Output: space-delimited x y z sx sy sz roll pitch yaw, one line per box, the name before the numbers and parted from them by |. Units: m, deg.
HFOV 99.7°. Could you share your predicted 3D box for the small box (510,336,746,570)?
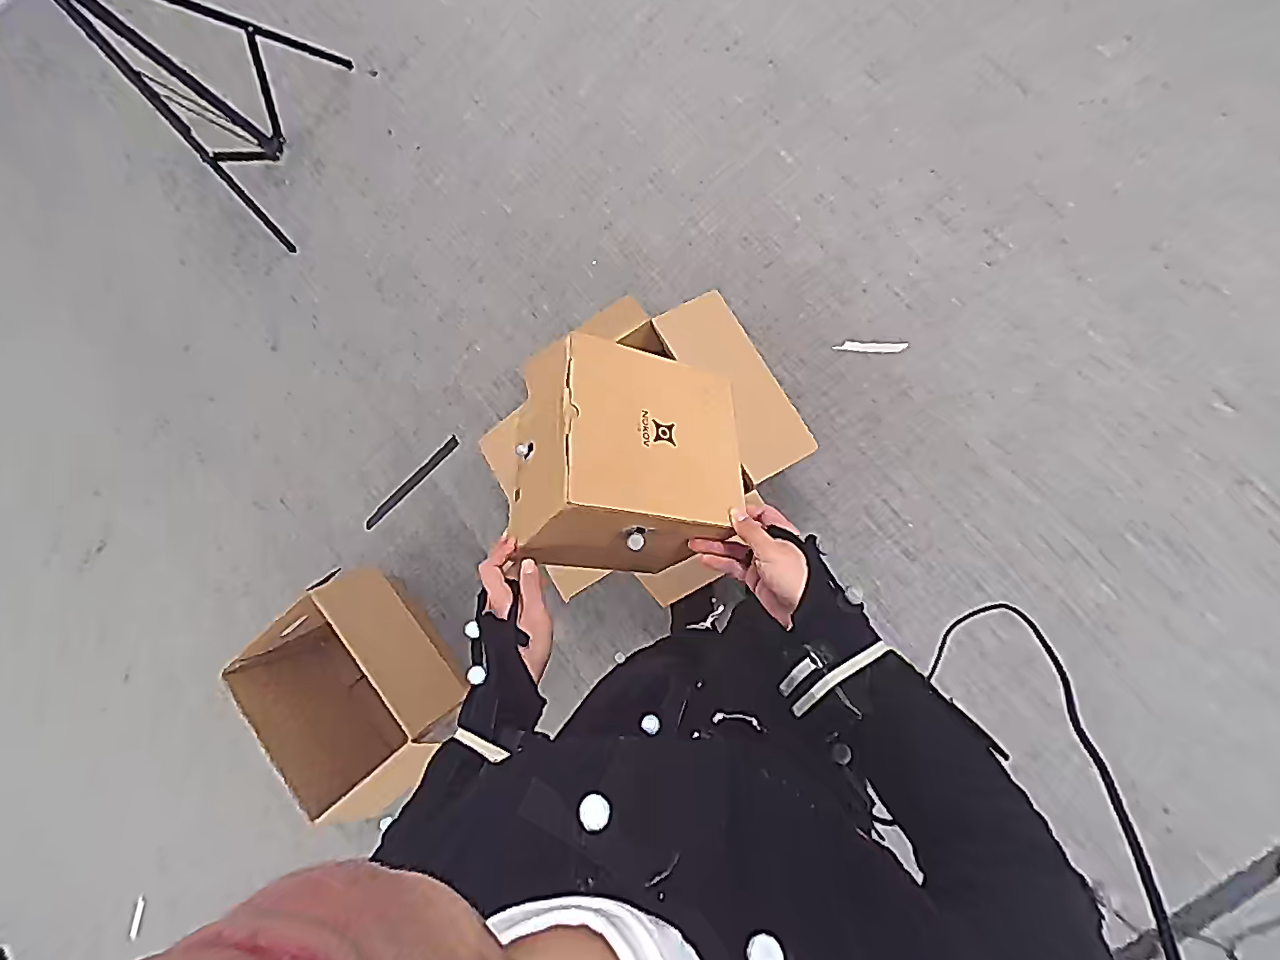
small box | -0.019 -0.011 0.546 0.179 0.176 0.168 10 64 -25
